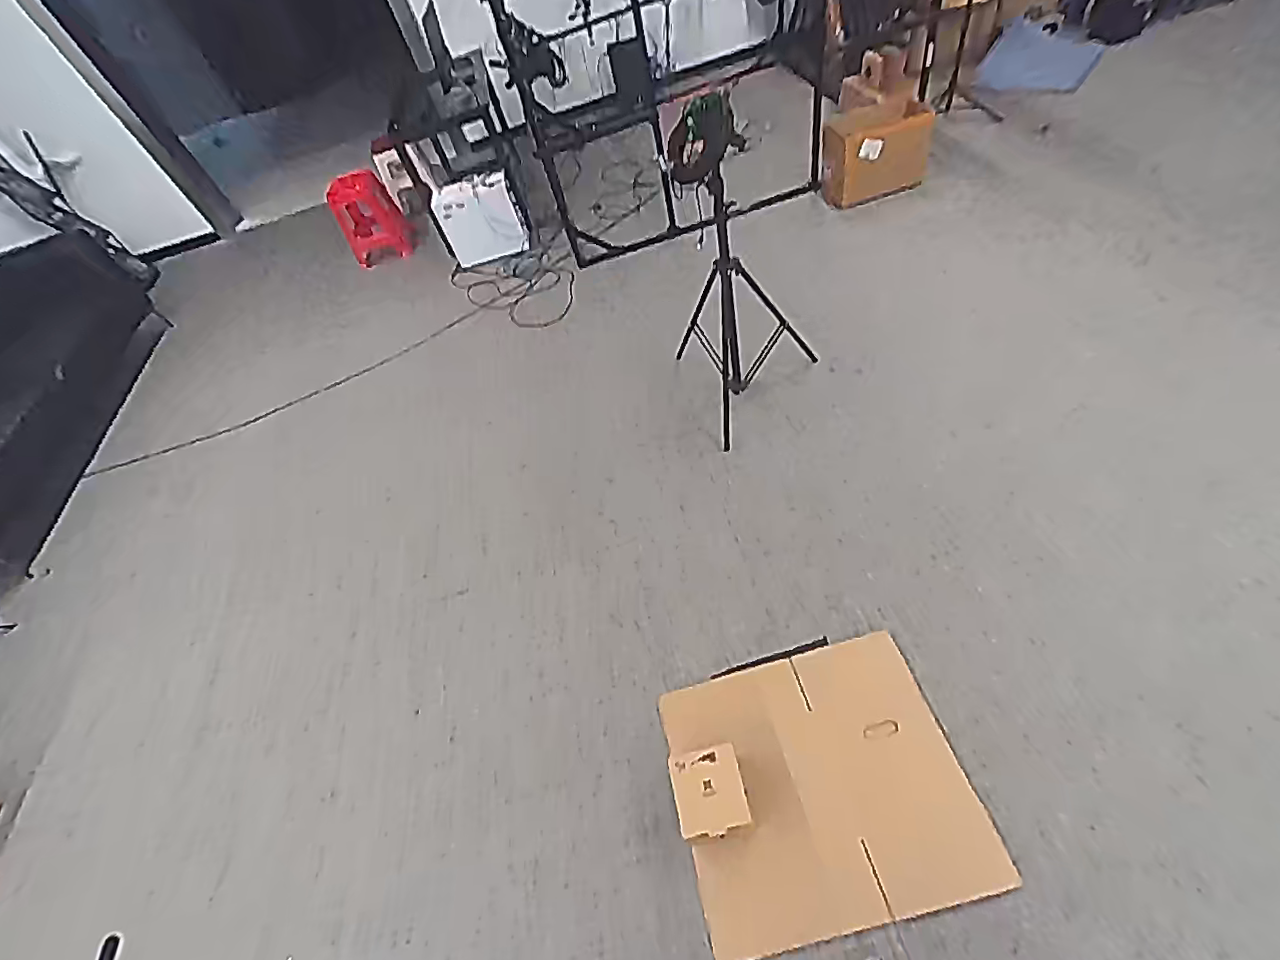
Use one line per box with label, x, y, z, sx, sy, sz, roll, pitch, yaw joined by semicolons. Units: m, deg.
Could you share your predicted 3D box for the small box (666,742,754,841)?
small box;0.174;0.765;1.321;0.168;0.176;0.179;-16;52;4
